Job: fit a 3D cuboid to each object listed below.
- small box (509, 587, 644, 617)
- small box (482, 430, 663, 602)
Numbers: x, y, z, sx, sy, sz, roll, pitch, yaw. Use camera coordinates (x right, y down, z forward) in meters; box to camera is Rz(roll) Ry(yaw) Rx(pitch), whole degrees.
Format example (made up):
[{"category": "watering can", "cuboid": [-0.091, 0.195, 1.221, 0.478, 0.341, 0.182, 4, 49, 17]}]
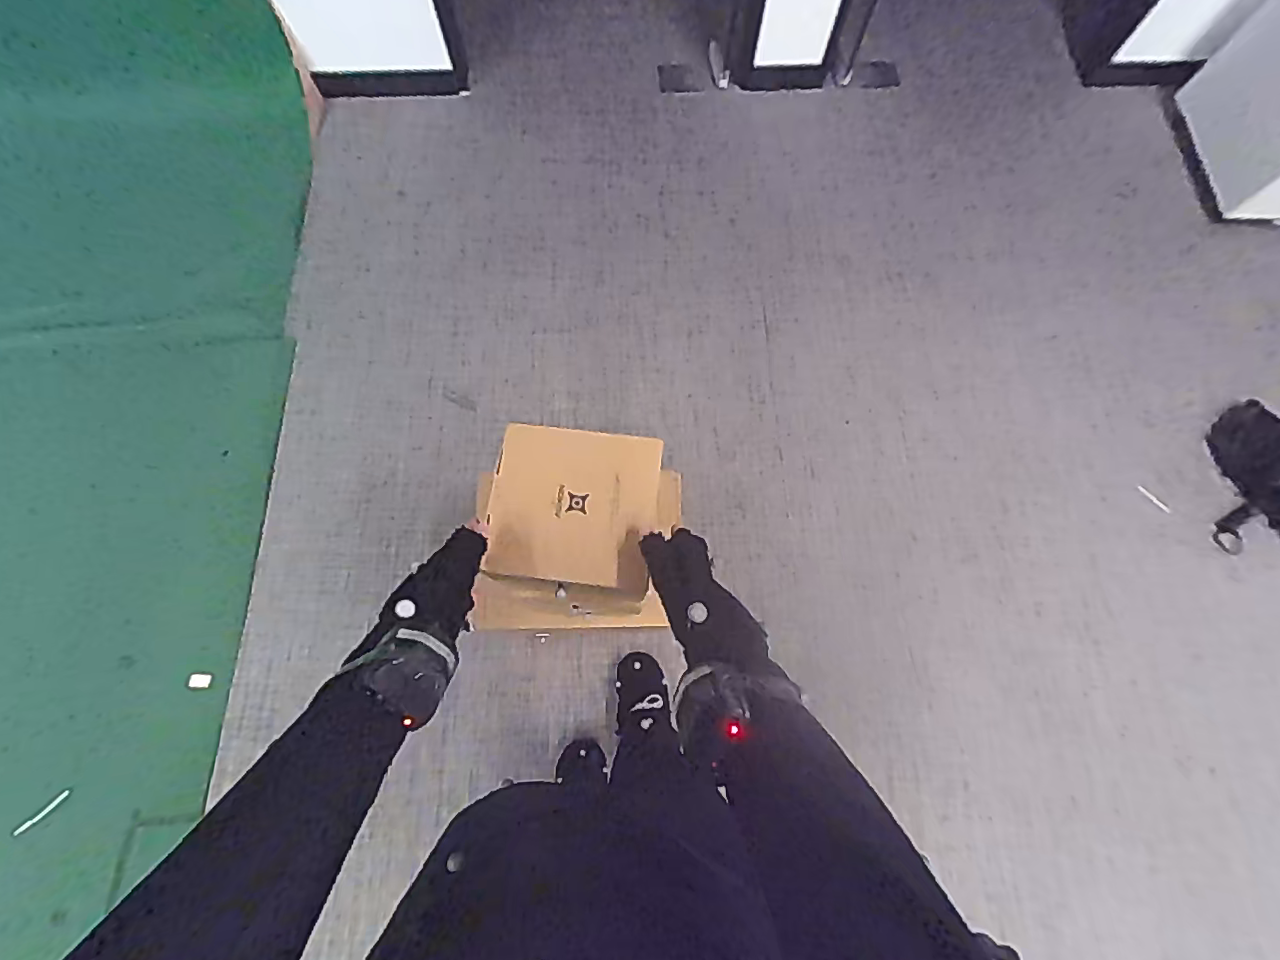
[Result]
[{"category": "small box", "cuboid": [-0.079, 0.110, 0.798, 0.179, 0.176, 0.168, 4, 73, 1]}, {"category": "small box", "cuboid": [-0.071, 0.053, 0.648, 0.179, 0.176, 0.168, 5, 73, -1]}]
